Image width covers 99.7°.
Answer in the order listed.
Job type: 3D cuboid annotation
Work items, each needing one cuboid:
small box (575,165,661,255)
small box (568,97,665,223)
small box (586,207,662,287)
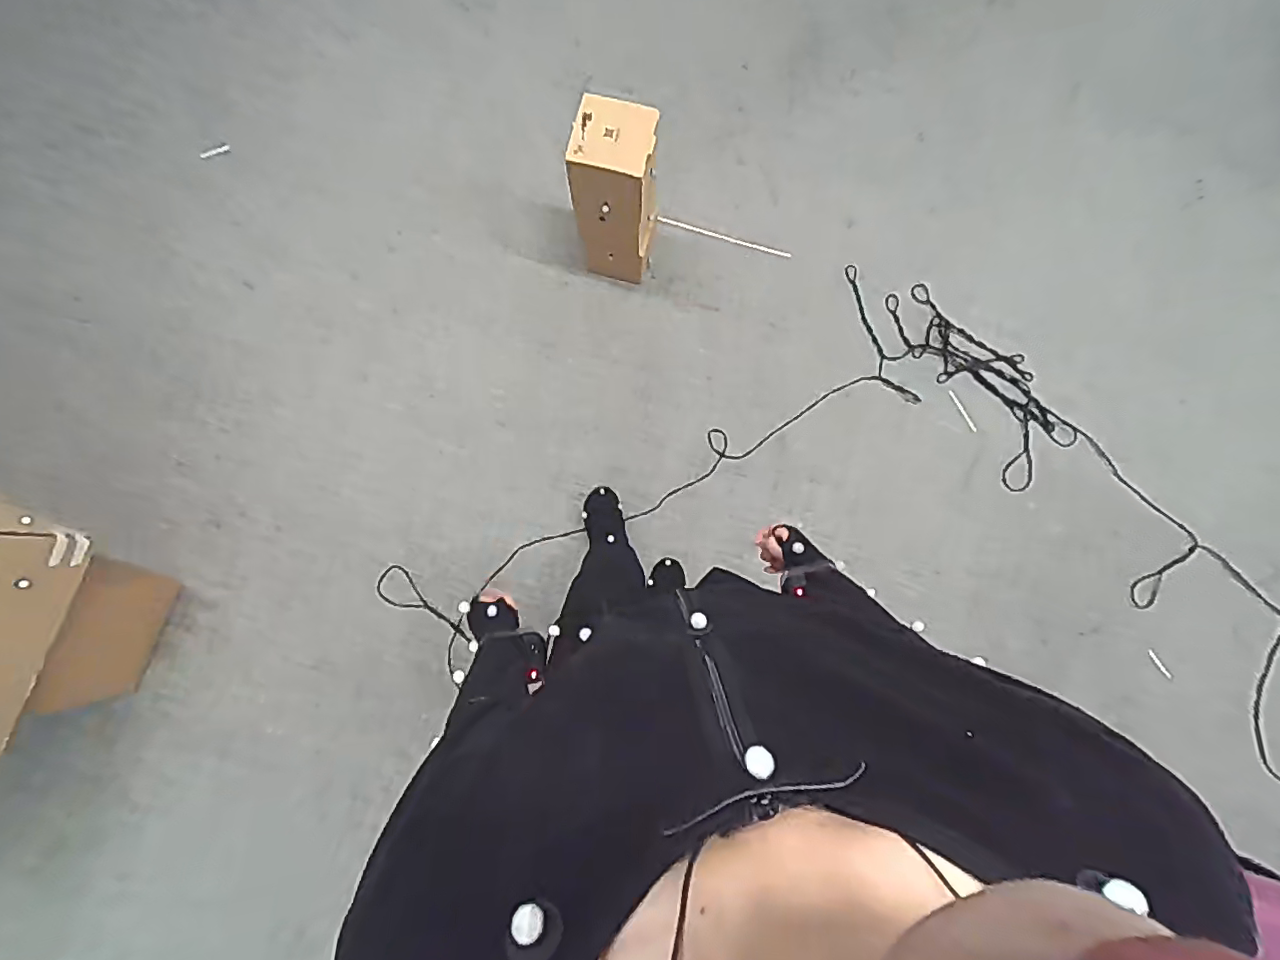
[{"bbox_3d":[-0.052,-0.714,1.404,0.179,0.176,0.168,17,83,2],"label":"small box"},{"bbox_3d":[-0.052,-0.721,1.240,0.179,0.176,0.168,15,82,1],"label":"small box"},{"bbox_3d":[-0.043,-0.687,1.566,0.179,0.176,0.168,16,82,2],"label":"small box"}]
